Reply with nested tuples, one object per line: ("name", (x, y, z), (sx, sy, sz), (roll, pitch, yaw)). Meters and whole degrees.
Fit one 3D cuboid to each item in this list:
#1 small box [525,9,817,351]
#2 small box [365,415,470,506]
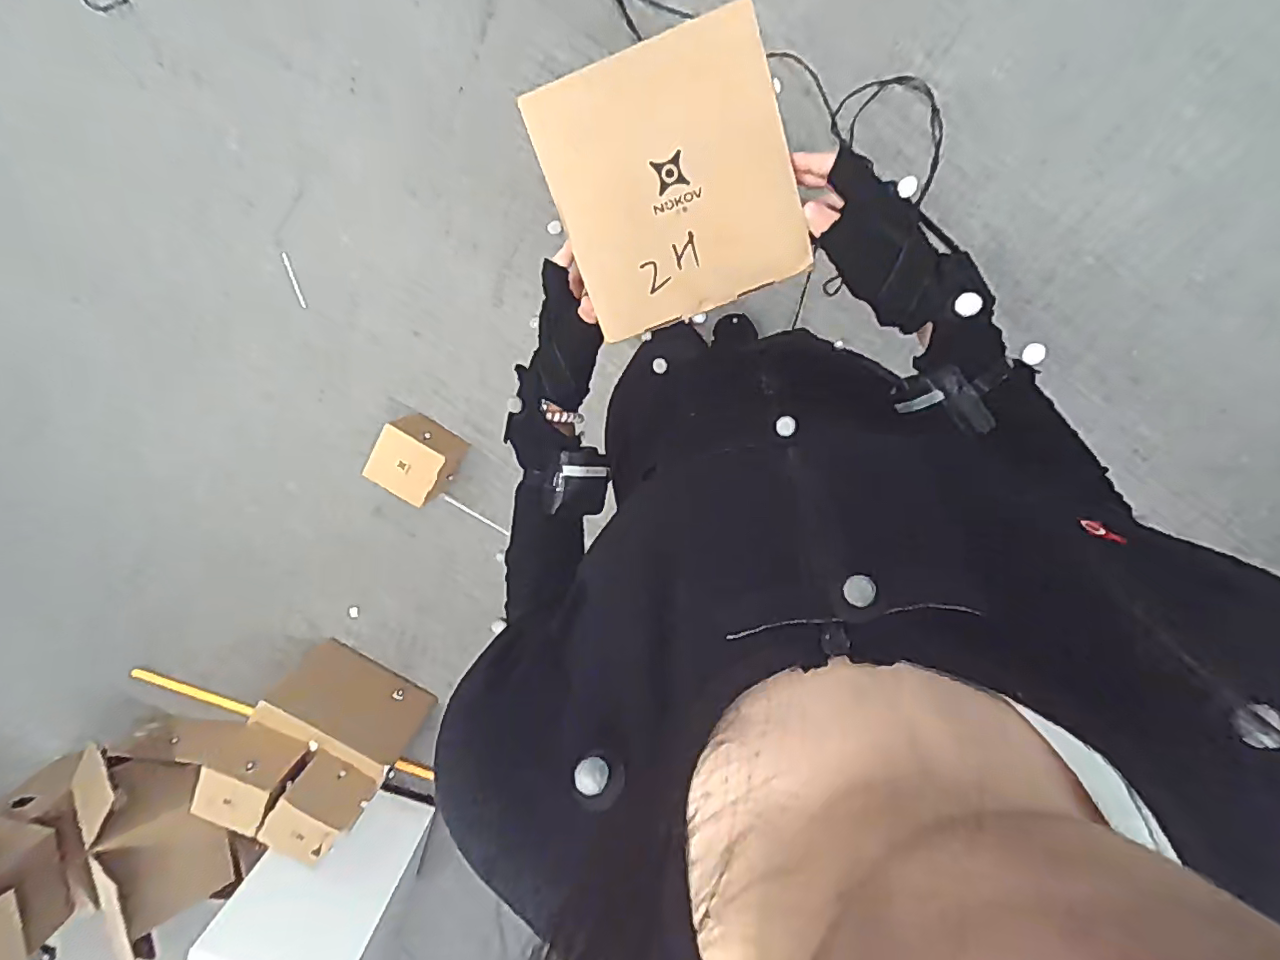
("small box", (0.026, -0.222, 0.449), (0.168, 0.176, 0.179), (-18, 108, 8))
("small box", (-0.594, -0.060, 1.461), (0.179, 0.176, 0.168), (31, 107, -6))
